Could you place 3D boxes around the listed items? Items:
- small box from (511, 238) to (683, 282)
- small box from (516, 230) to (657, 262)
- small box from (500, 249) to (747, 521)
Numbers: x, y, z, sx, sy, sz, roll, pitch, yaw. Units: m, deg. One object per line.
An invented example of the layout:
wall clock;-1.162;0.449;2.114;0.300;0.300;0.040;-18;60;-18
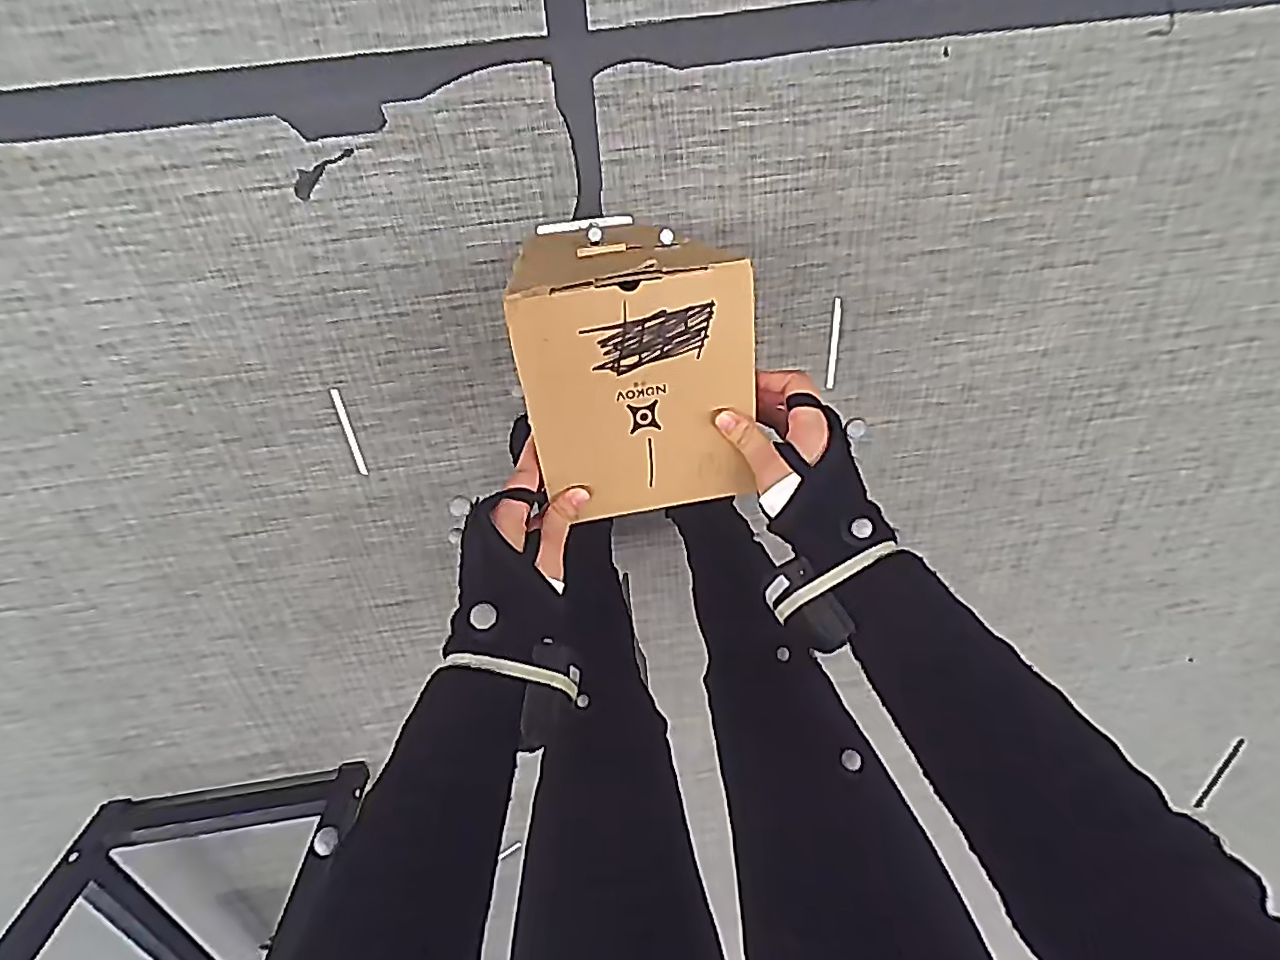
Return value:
small box;-0.041;-0.168;0.605;0.168;0.176;0.179;-10;118;-3
small box;-0.064;-0.244;0.746;0.179;0.176;0.168;-8;118;-3
small box;-0.015;-0.093;0.461;0.168;0.176;0.179;-10;119;-3
